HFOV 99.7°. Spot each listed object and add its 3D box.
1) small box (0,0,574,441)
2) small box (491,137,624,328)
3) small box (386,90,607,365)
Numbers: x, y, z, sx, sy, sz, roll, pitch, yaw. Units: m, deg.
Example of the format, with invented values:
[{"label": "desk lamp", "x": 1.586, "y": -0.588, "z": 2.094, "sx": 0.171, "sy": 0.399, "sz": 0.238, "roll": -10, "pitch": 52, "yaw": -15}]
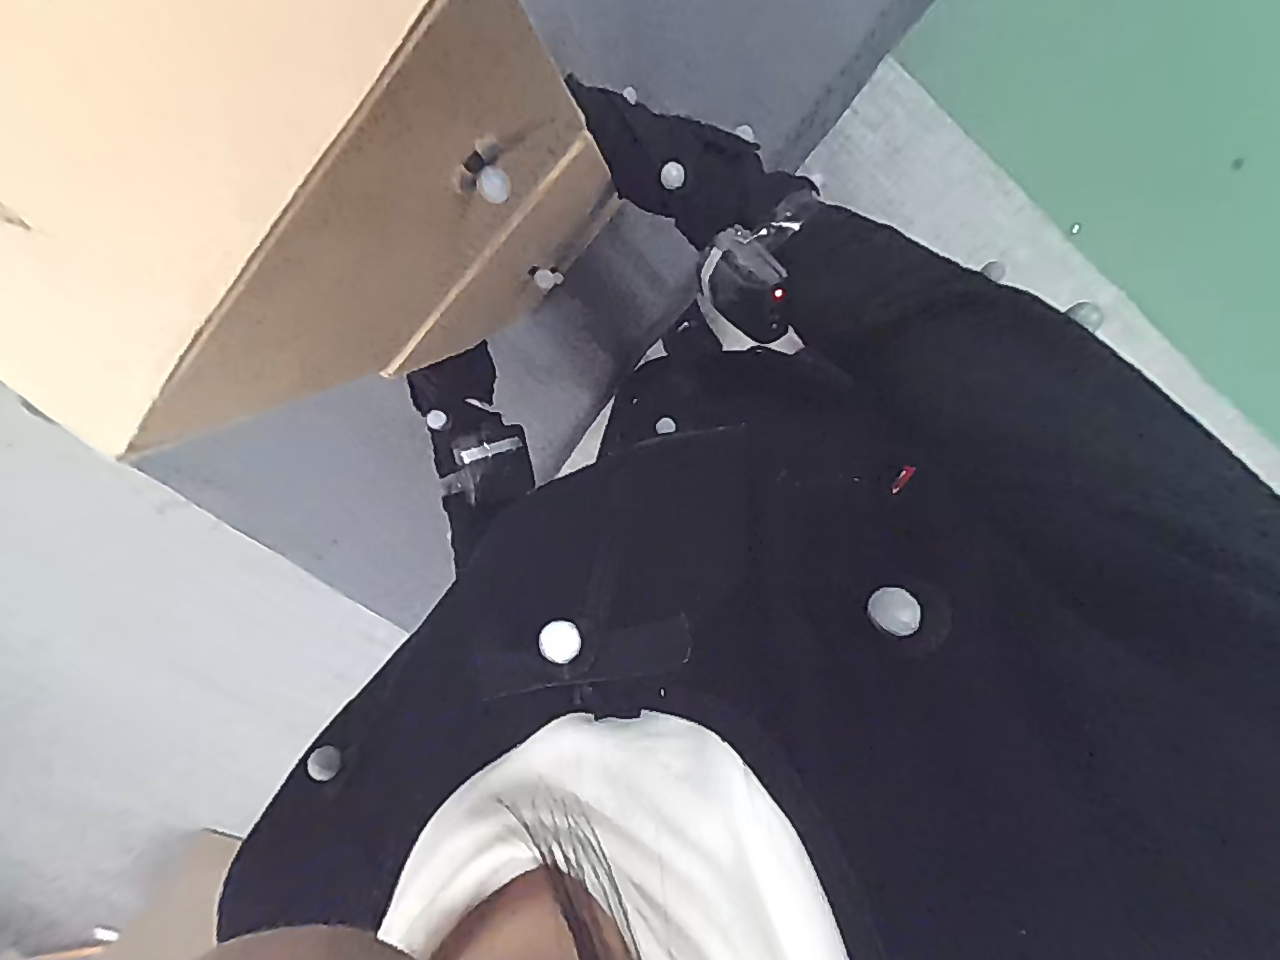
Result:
[{"label": "small box", "x": -0.141, "y": -0.149, "z": 0.200, "sx": 0.179, "sy": 0.176, "sz": 0.168, "roll": -42, "pitch": 103, "yaw": 17}, {"label": "small box", "x": -0.131, "y": -0.269, "z": 0.502, "sx": 0.168, "sy": 0.176, "sz": 0.179, "roll": 39, "pitch": 107, "yaw": -13}, {"label": "small box", "x": -0.135, "y": -0.204, "z": 0.351, "sx": 0.179, "sy": 0.176, "sz": 0.168, "roll": -42, "pitch": 103, "yaw": 15}]
